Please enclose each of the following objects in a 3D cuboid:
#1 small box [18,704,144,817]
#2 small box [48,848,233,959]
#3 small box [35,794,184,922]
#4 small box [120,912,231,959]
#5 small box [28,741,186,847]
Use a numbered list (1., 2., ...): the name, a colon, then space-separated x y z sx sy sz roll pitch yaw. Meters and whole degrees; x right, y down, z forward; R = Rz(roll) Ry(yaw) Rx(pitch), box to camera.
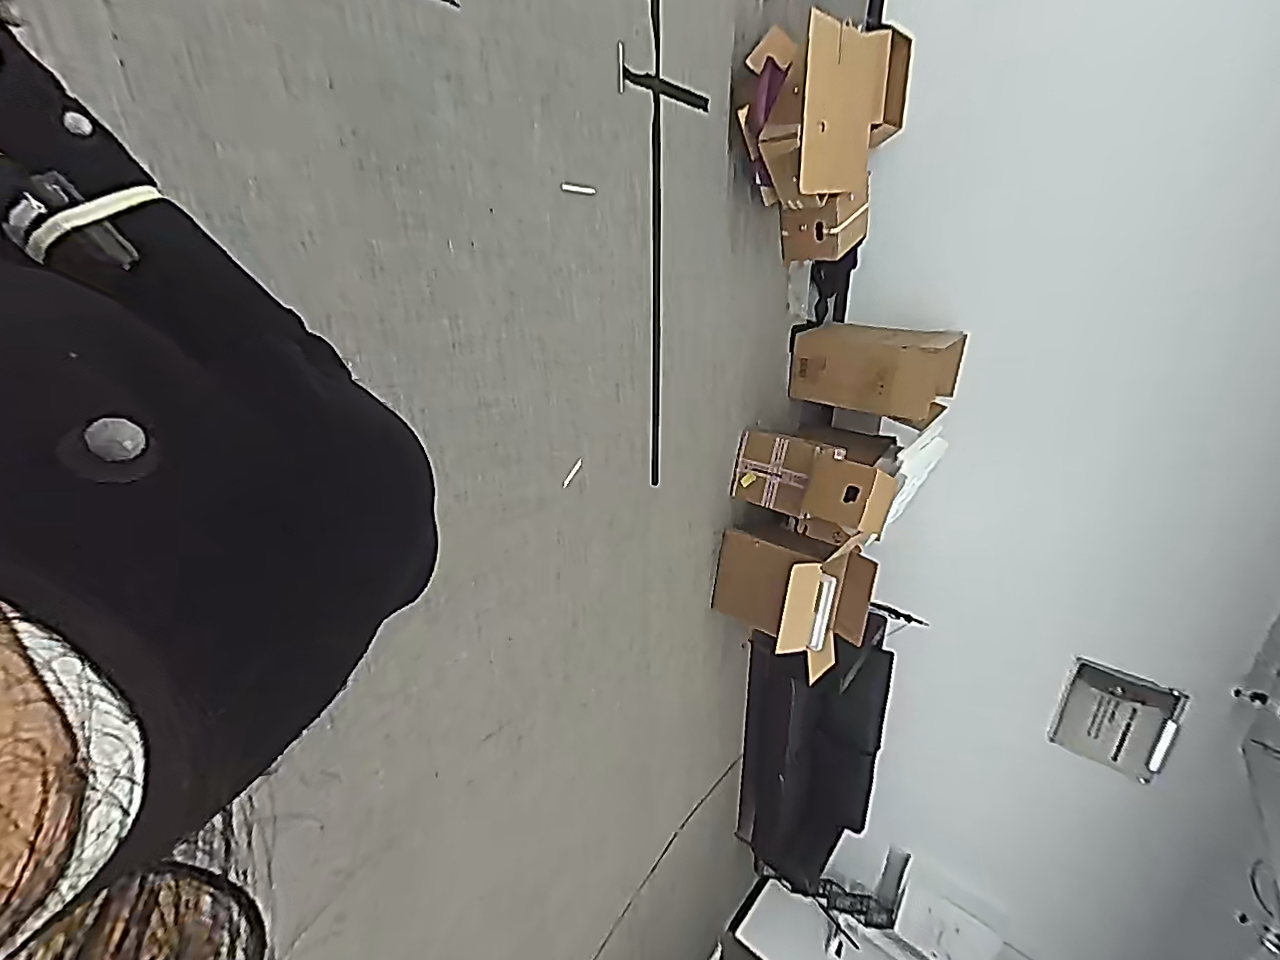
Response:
1. small box: -1.166 0.620 1.148 0.179 0.176 0.168 -24 122 -46
2. small box: -0.787 0.734 0.857 0.168 0.176 0.179 -23 122 -46
3. small box: -0.915 0.695 0.952 0.168 0.176 0.179 -22 119 -46
4. small box: -0.664 0.772 0.759 0.168 0.176 0.179 -26 122 -46
5. small box: -1.035 0.652 1.054 0.179 0.176 0.168 -21 119 -47
